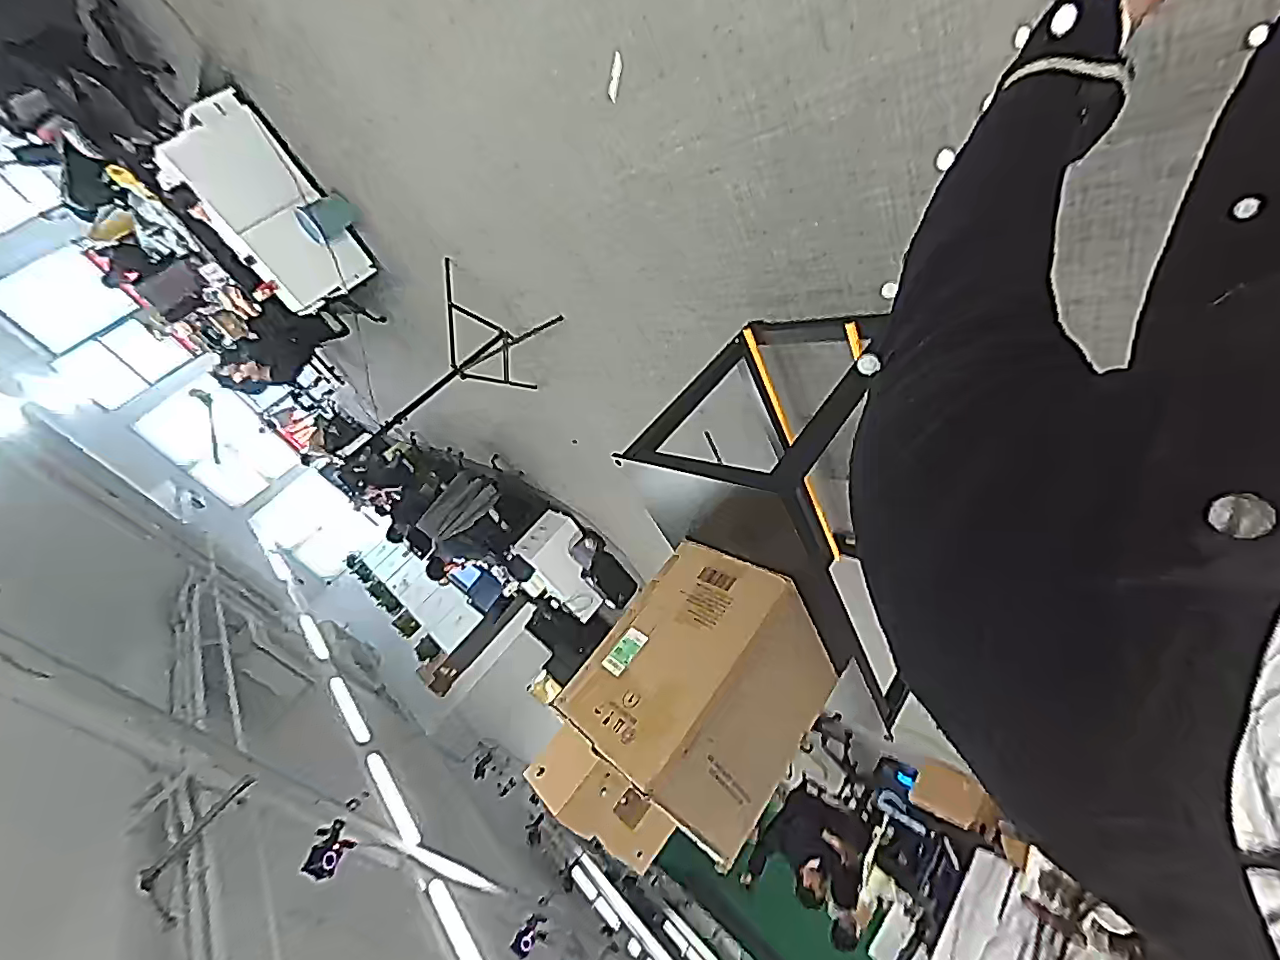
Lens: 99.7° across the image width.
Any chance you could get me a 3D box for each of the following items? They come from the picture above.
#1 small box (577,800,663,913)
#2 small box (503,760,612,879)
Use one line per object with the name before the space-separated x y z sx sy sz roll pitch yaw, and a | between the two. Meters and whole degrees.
small box | -0.065 1.041 1.503 0.168 0.176 0.179 17 145 48
small box | -0.202 0.838 1.354 0.179 0.176 0.168 16 148 50
